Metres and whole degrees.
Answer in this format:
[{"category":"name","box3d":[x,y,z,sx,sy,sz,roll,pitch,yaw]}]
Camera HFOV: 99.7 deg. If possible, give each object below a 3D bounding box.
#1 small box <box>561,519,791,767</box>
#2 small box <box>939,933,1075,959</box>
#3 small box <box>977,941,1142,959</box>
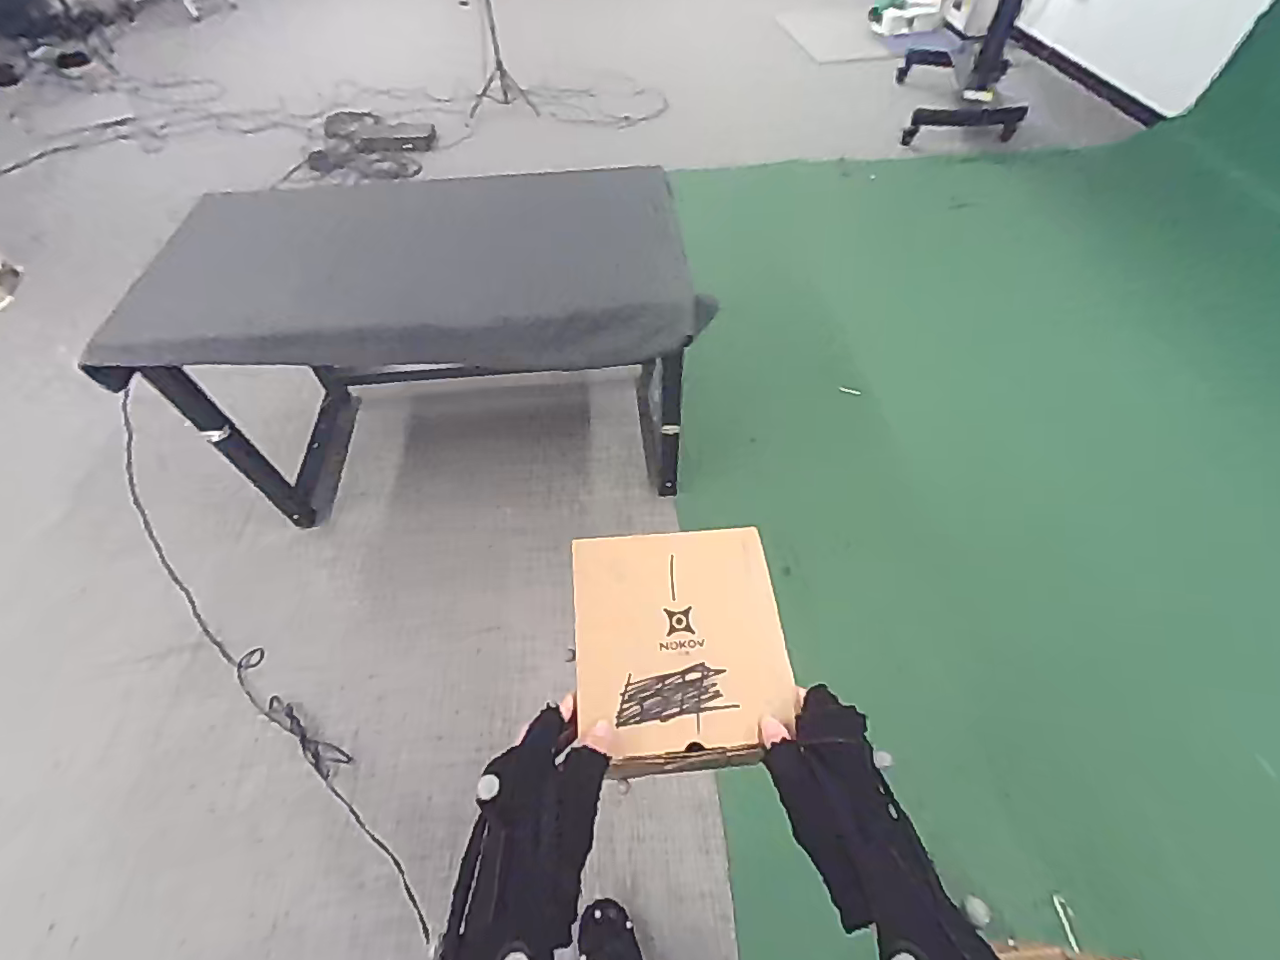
[{"category":"small box","box3d":[0.019,0.155,0.492,0.168,0.176,0.179,-4,58,-5]},{"category":"small box","box3d":[0.667,0.907,0.945,0.179,0.176,0.168,-3,52,-1]},{"category":"small box","box3d":[0.667,0.824,0.826,0.179,0.176,0.168,-3,53,-2]}]
